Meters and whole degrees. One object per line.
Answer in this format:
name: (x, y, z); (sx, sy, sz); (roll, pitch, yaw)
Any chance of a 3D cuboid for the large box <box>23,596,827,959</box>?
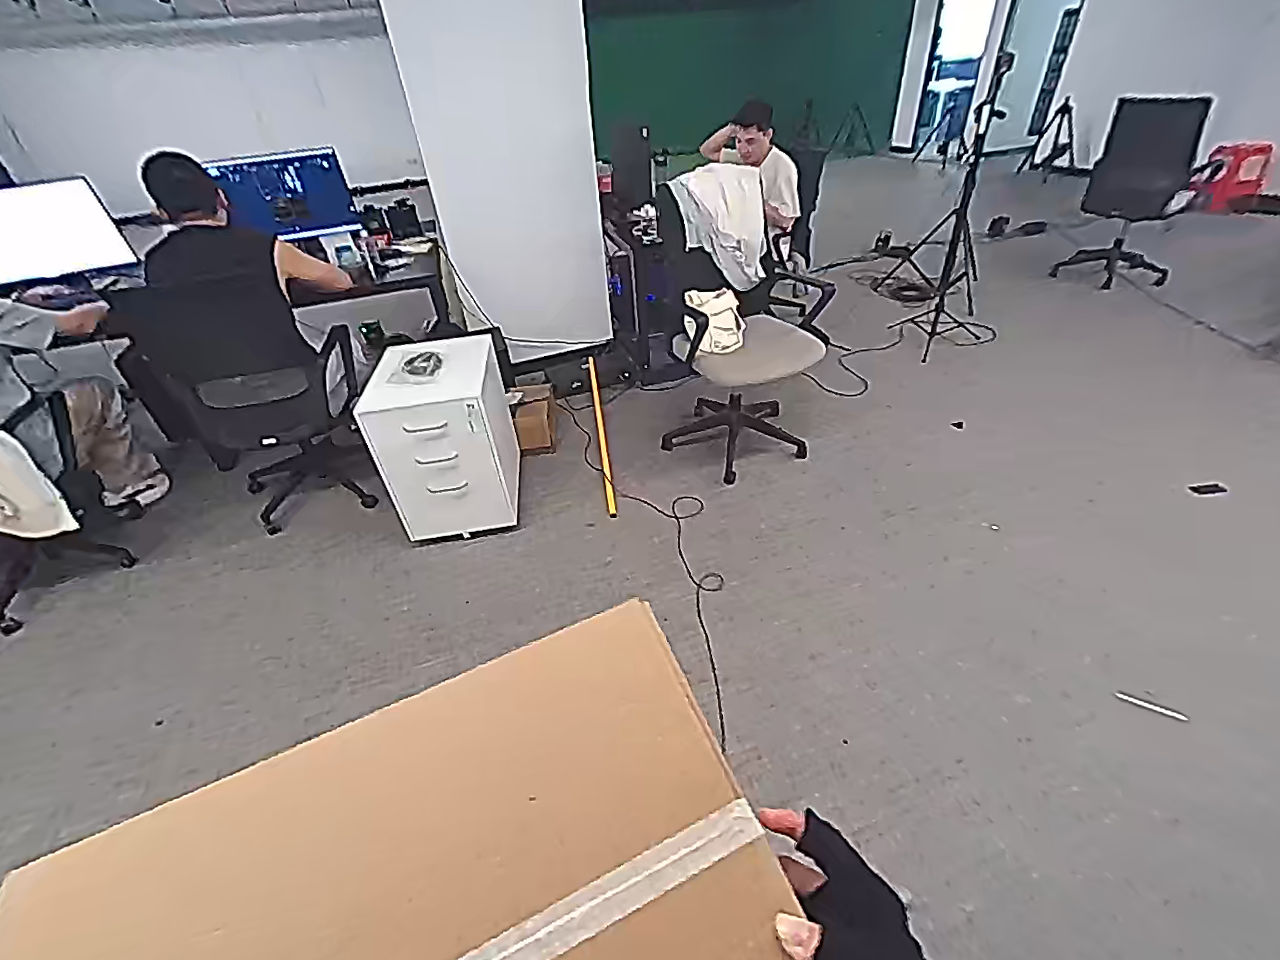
large box: (-0.110, 0.354, 0.405); (0.408, 0.320, 0.320); (-21, 54, -13)
